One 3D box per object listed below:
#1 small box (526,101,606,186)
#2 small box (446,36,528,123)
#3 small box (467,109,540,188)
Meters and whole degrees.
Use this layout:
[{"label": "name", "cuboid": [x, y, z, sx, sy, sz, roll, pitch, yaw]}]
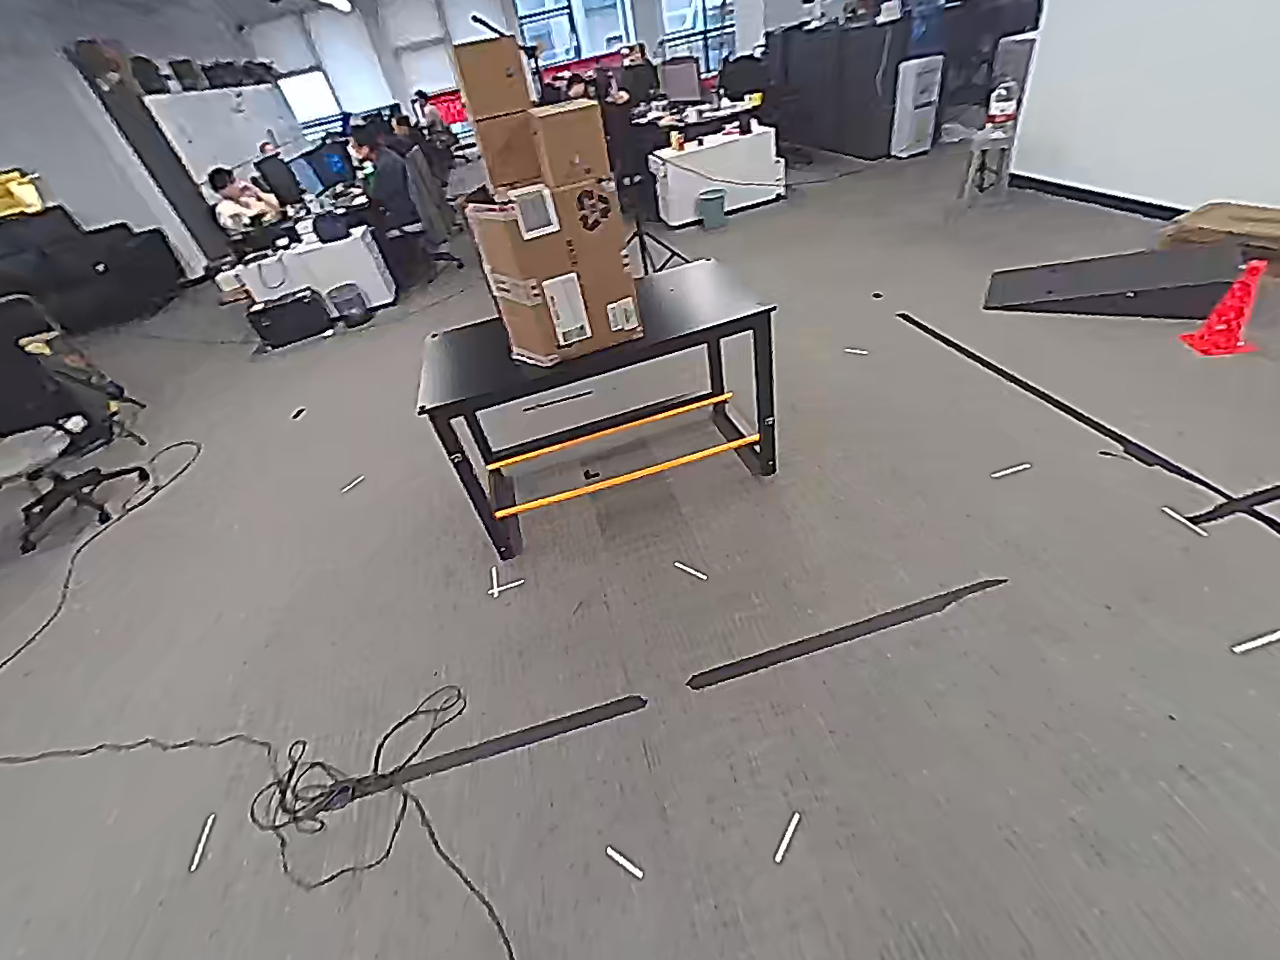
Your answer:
[{"label": "small box", "cuboid": [-0.204, -0.930, 1.496, 0.168, 0.176, 0.179, -19, 41, -9]}, {"label": "small box", "cuboid": [-0.425, -1.118, 1.519, 0.179, 0.176, 0.168, -21, 37, -10]}, {"label": "small box", "cuboid": [-0.400, -0.993, 1.622, 0.179, 0.176, 0.168, -19, 38, -8]}]
